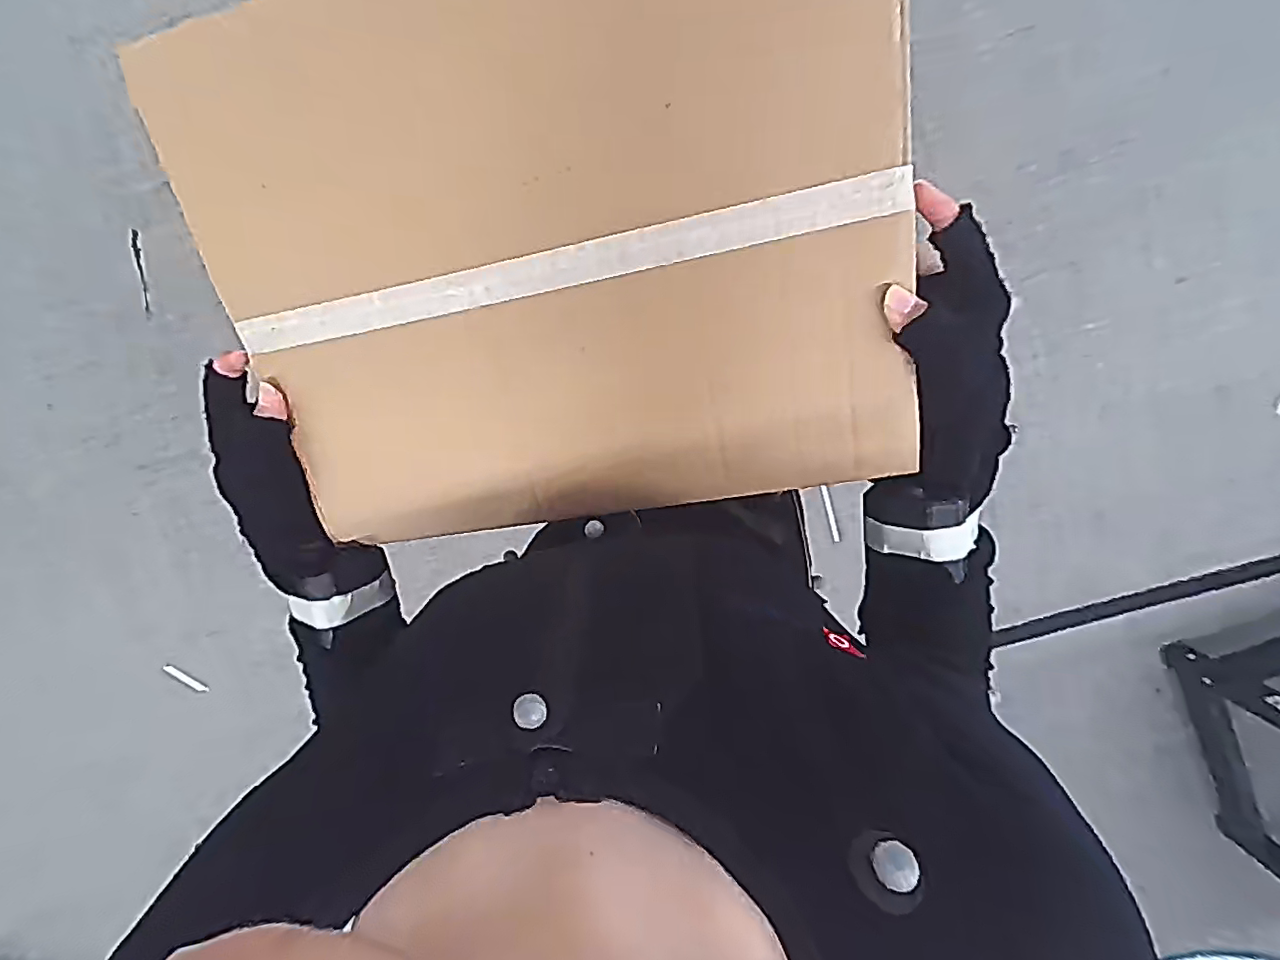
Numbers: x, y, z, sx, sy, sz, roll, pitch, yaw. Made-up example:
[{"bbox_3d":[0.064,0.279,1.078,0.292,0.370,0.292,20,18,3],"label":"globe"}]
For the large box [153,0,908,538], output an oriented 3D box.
[{"bbox_3d":[-0.037,-0.180,0.457,0.408,0.320,0.320,-8,110,11],"label":"large box"}]
